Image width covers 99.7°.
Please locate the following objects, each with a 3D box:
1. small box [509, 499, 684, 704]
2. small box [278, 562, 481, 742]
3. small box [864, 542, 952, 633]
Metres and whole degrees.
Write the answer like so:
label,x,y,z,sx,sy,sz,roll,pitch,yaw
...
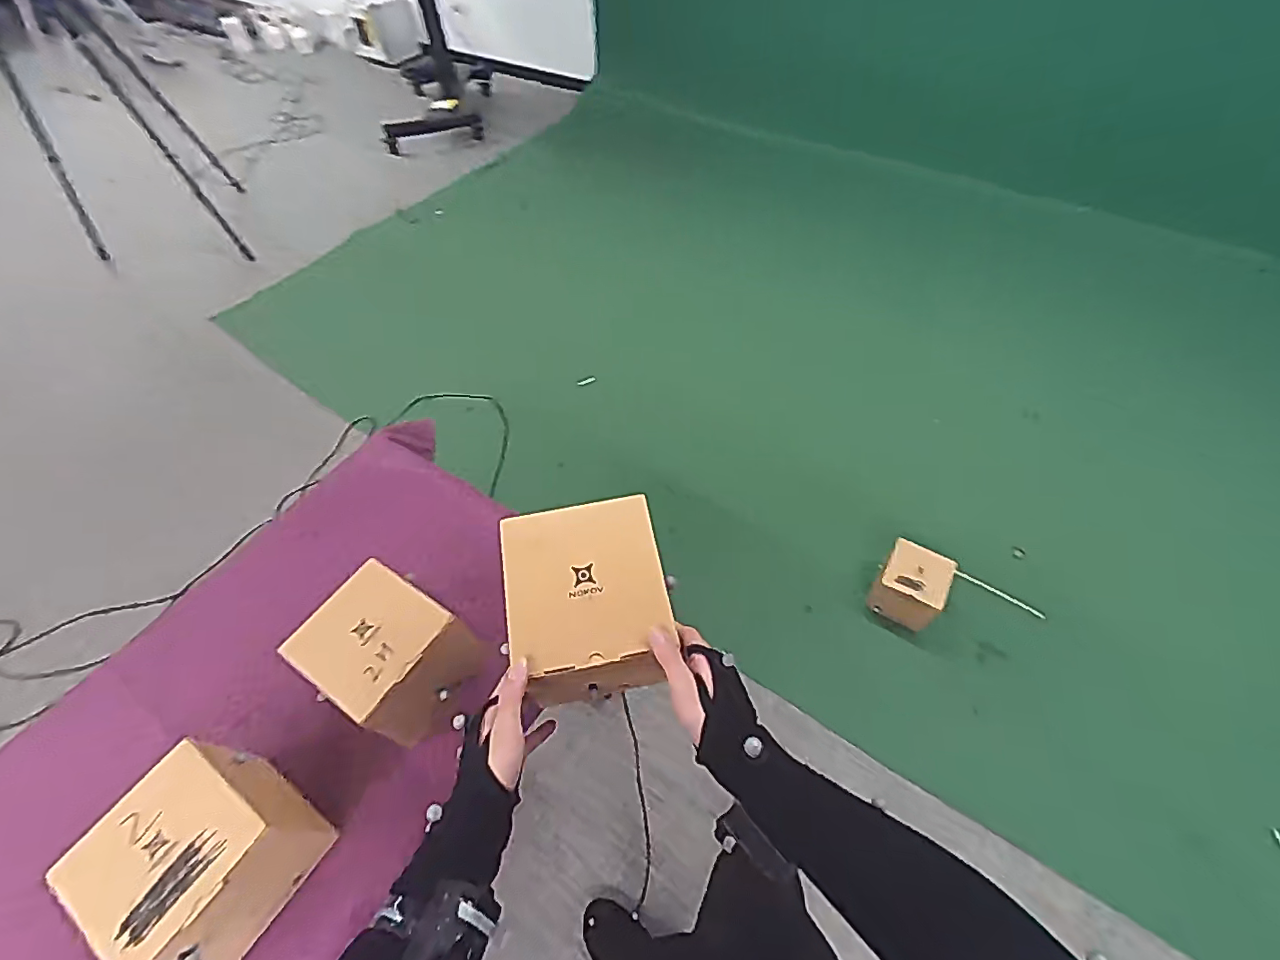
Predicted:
label,x,y,z,sx,sy,sz,roll,pitch,yaw
small box,-0.053,0.146,0.631,0.168,0.176,0.179,-9,61,-6
small box,-0.368,0.257,0.795,0.179,0.176,0.168,27,61,20
small box,0.786,0.324,1.602,0.168,0.176,0.179,26,59,19
